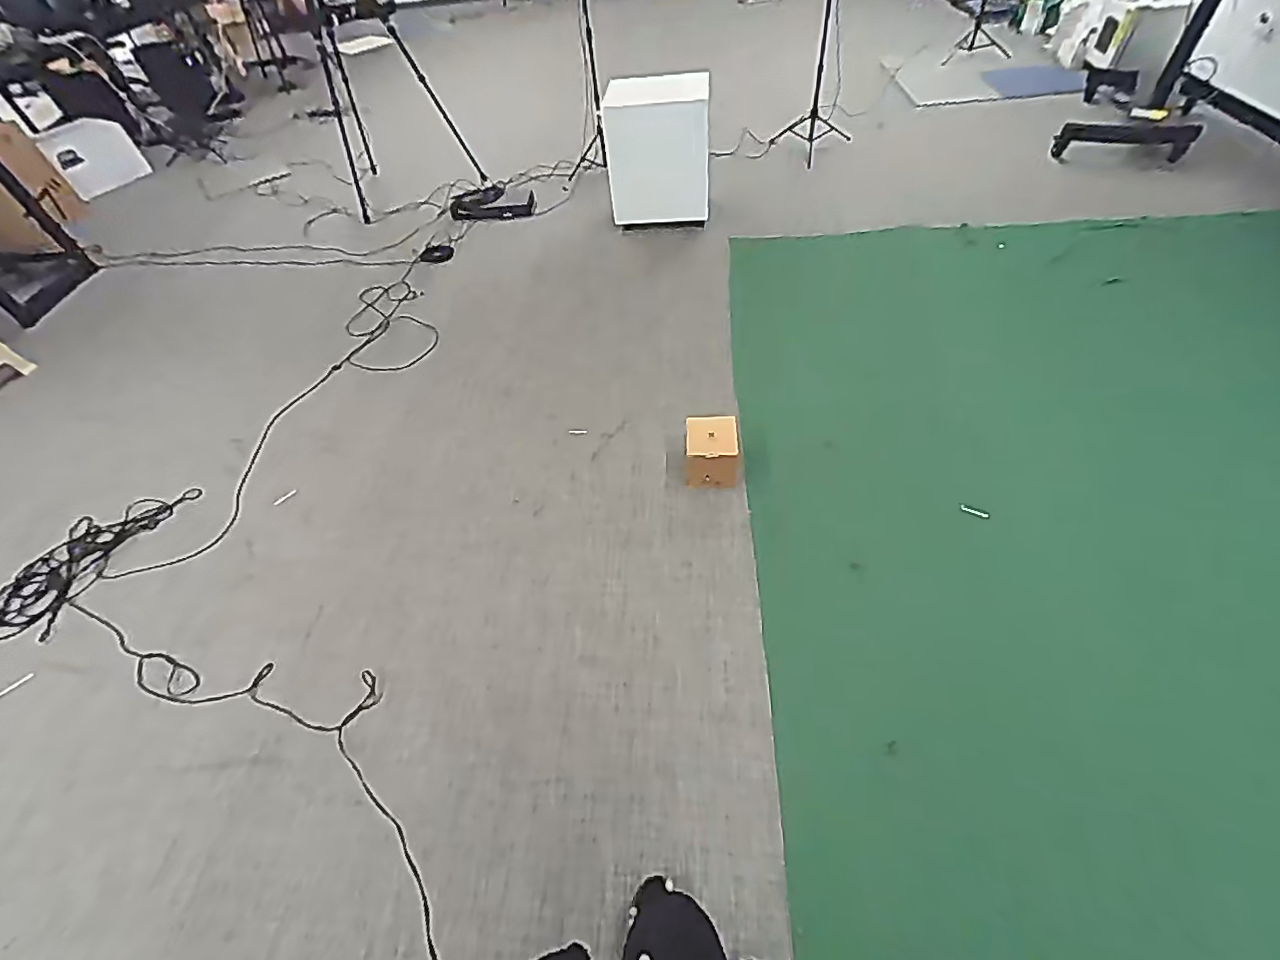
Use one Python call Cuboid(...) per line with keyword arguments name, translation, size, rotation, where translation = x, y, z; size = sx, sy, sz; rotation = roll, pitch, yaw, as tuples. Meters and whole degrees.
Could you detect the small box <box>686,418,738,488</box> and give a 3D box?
Cuboid(name="small box", translation=(0.241, -0.093, 1.840), size=(0.168, 0.176, 0.179), rotation=(-1, 51, 6))
